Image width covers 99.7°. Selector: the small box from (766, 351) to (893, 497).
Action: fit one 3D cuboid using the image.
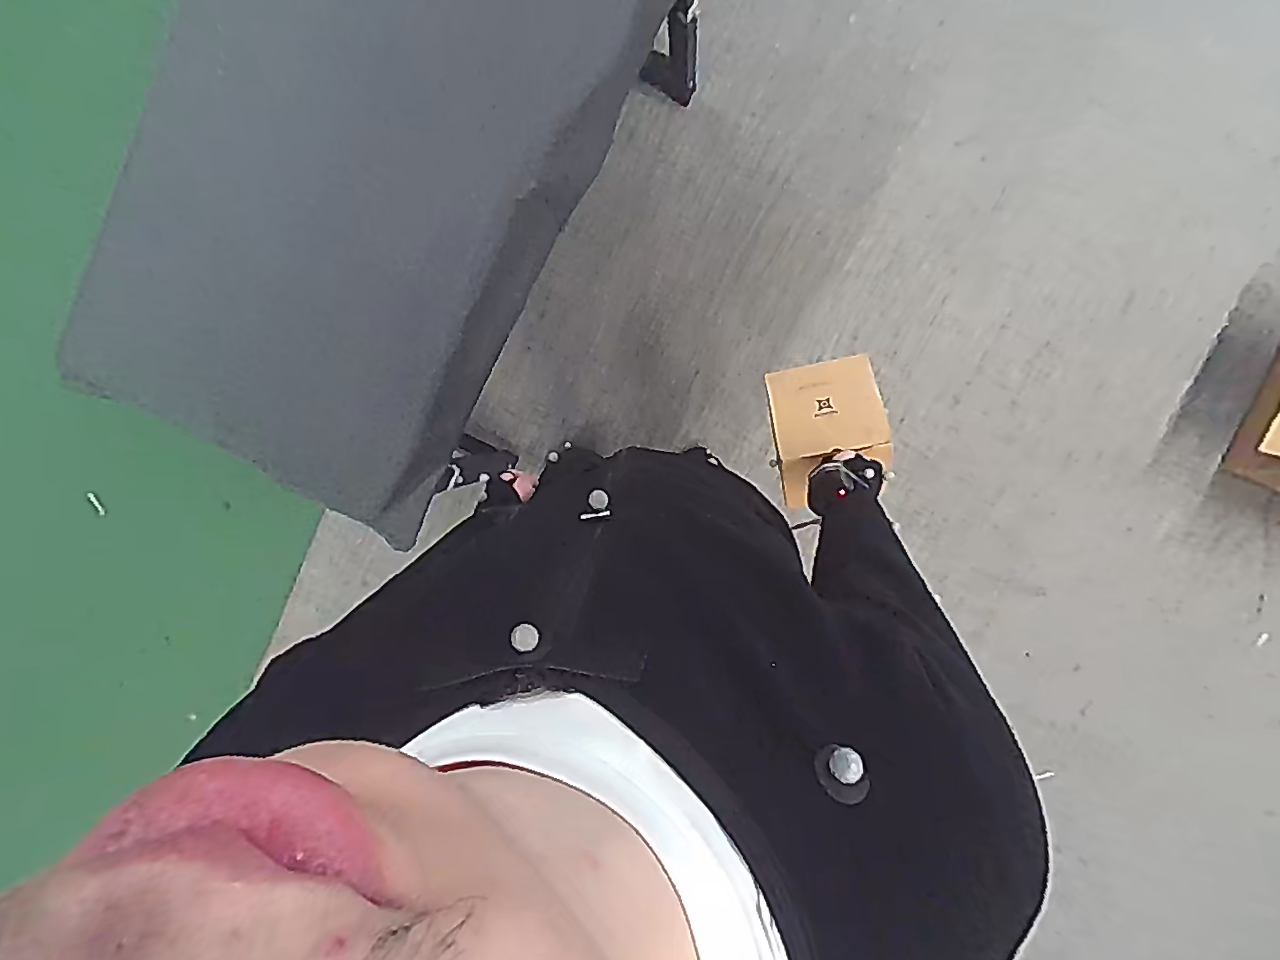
[{"bbox_3d":[0.313,-0.083,0.912,0.168,0.176,0.179,-10,58,13],"label":"small box"}]
